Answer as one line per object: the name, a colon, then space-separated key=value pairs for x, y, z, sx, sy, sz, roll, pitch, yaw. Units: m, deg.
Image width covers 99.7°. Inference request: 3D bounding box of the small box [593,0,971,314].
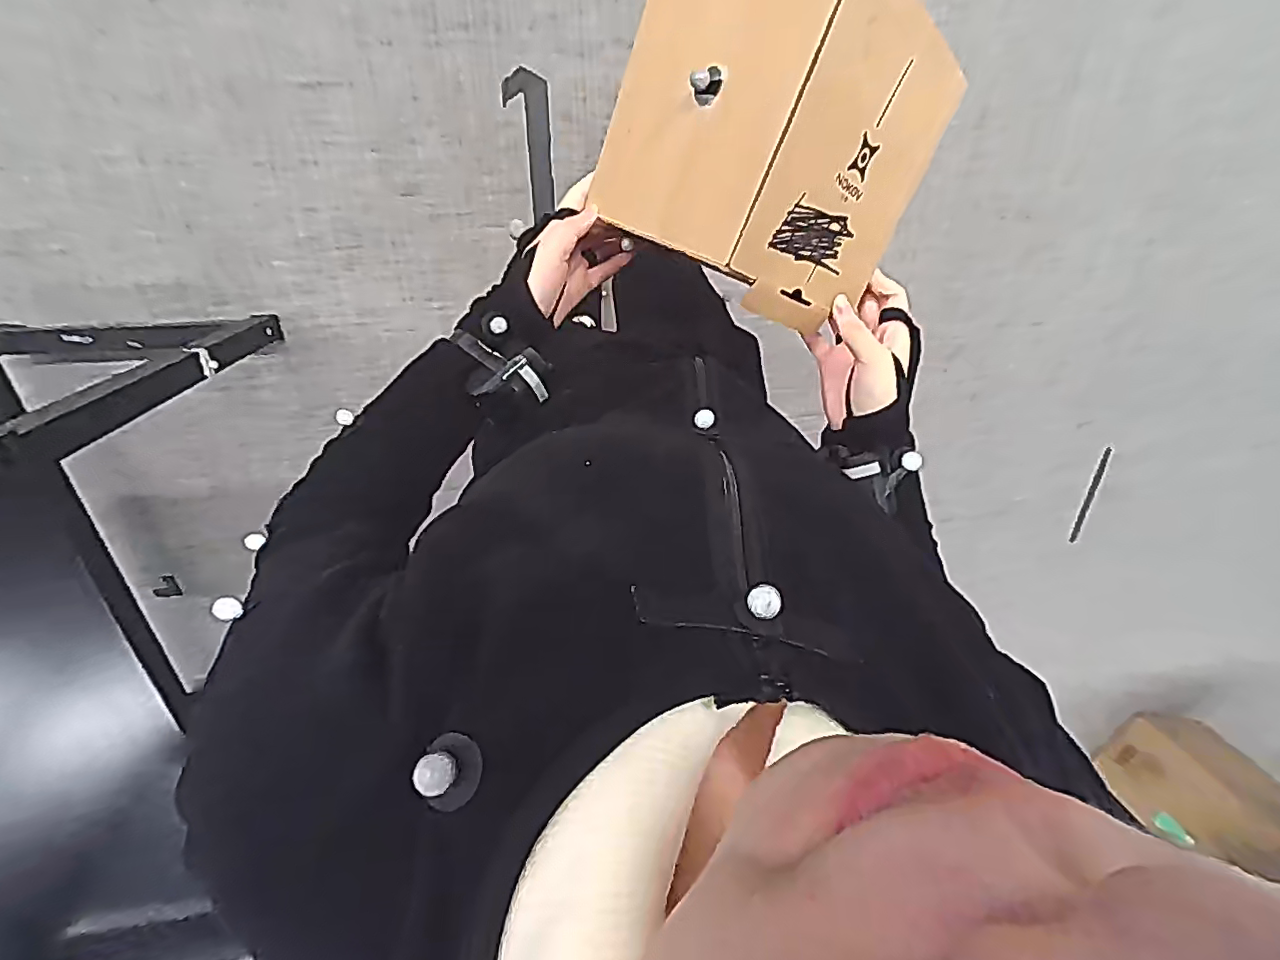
small box: x=0.089 y=-0.247 z=0.392 sx=0.168 sy=0.176 sz=0.179 roll=0 pitch=120 yaw=-45
